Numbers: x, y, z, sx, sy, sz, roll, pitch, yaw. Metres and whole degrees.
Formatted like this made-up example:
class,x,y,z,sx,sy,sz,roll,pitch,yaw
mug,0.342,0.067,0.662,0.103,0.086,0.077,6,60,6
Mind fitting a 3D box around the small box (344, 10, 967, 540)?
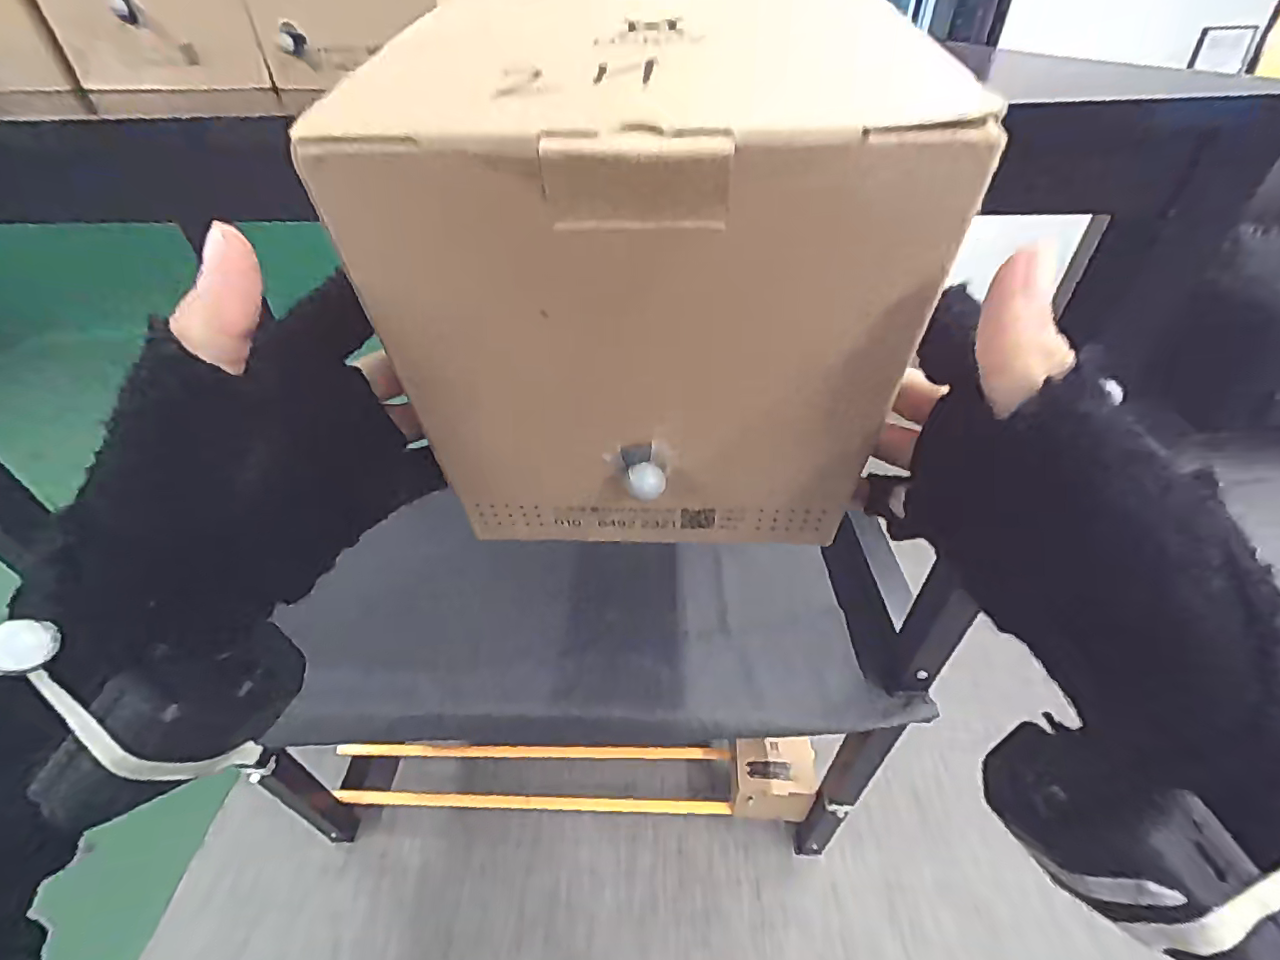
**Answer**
class,x,y,z,sx,sy,sz,roll,pitch,yaw
small box,0.008,-0.093,0.253,0.168,0.176,0.179,1,51,3
